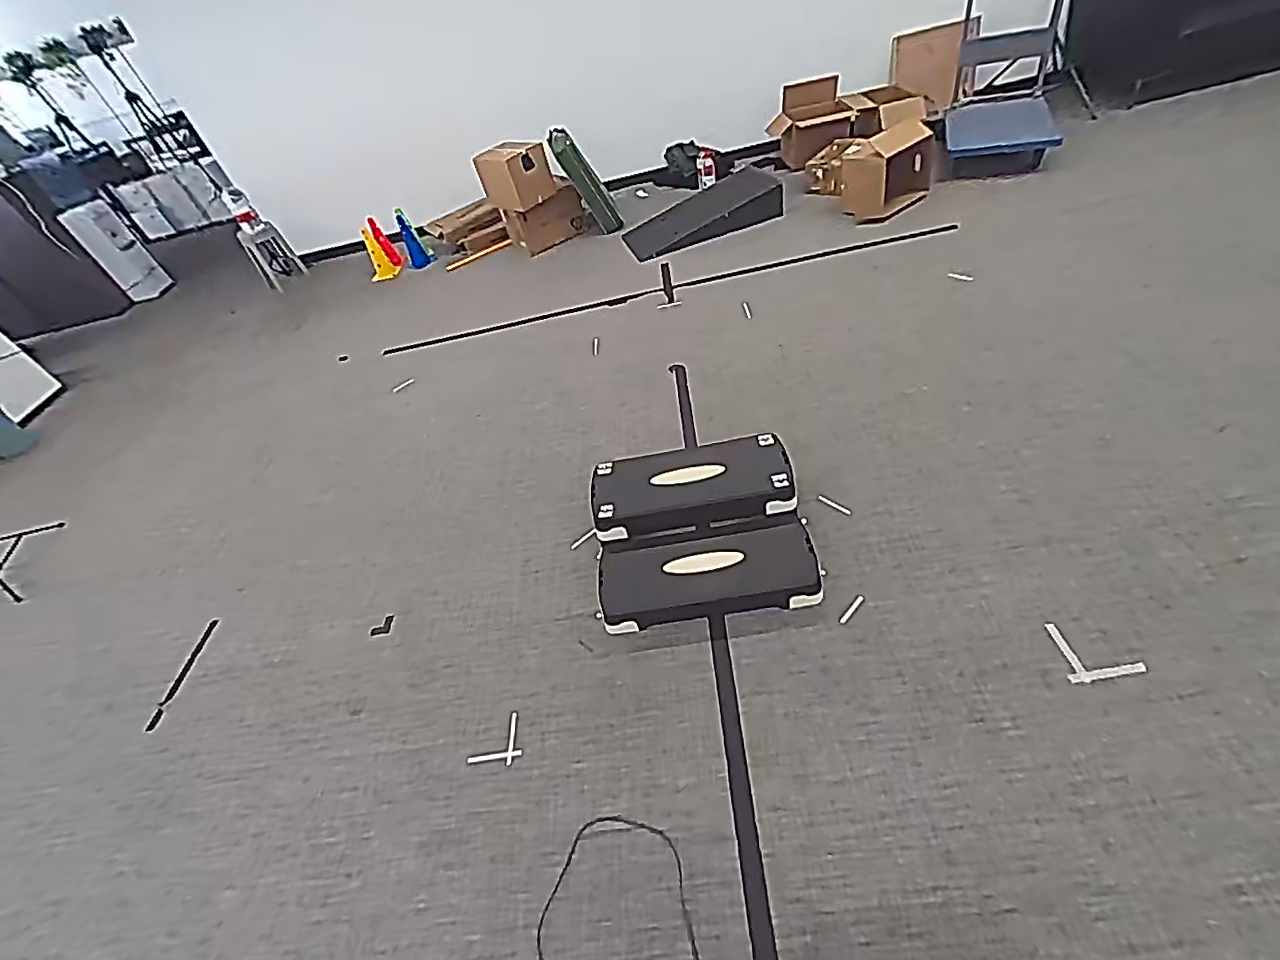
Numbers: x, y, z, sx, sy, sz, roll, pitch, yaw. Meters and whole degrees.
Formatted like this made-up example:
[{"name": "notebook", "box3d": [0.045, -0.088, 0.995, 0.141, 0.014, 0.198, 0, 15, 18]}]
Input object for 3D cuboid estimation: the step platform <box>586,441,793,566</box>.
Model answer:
[{"name": "step platform", "box3d": [0.160, 0.075, 1.833, 0.684, 0.204, 0.286, -10, 45, 5]}]
